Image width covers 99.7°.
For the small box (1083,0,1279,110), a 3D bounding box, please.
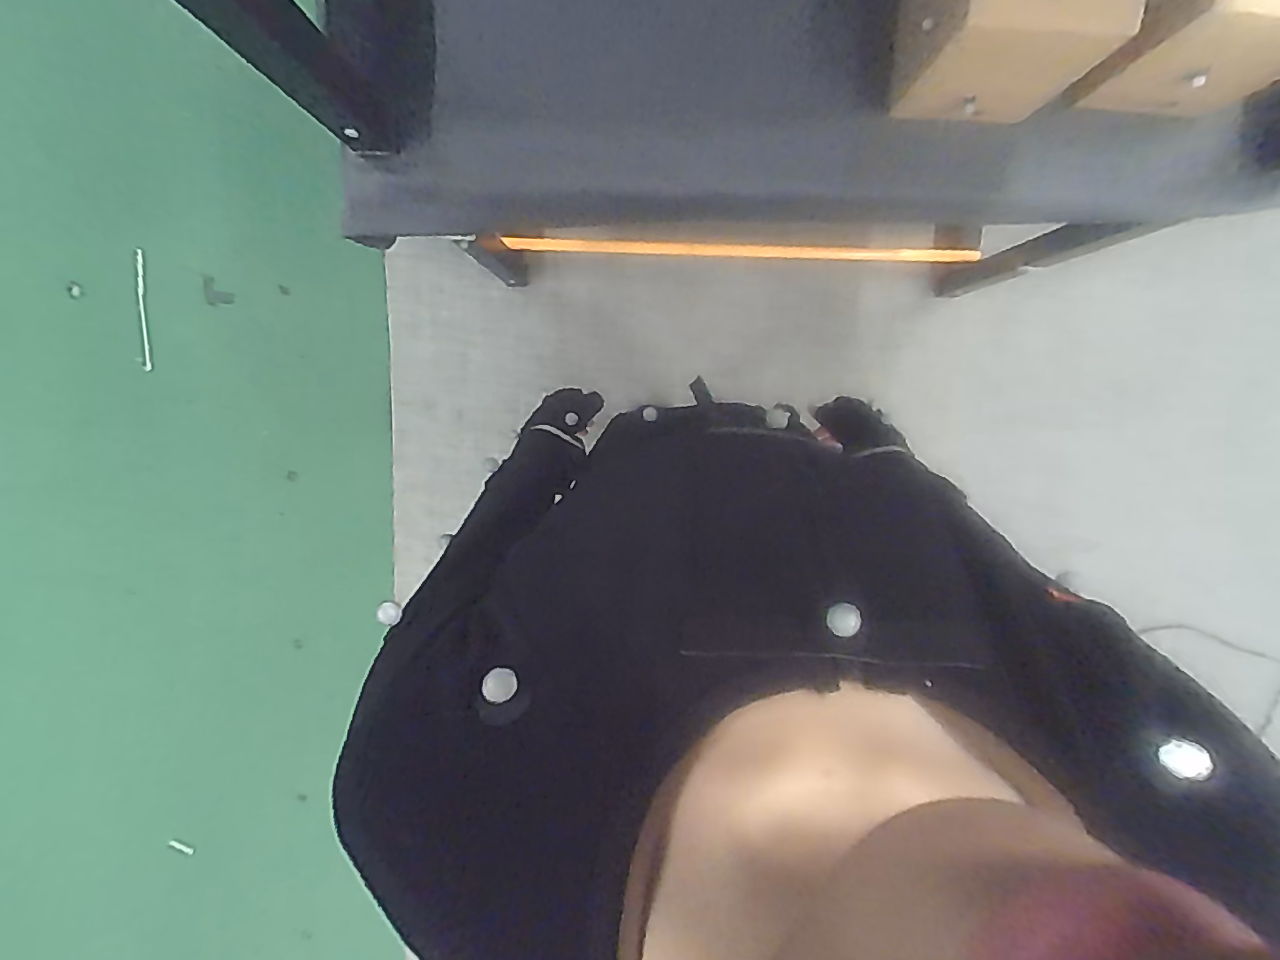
[{"bbox_3d":[0.624,-0.530,0.574,0.168,0.176,0.179,5,98,0],"label":"small box"}]
